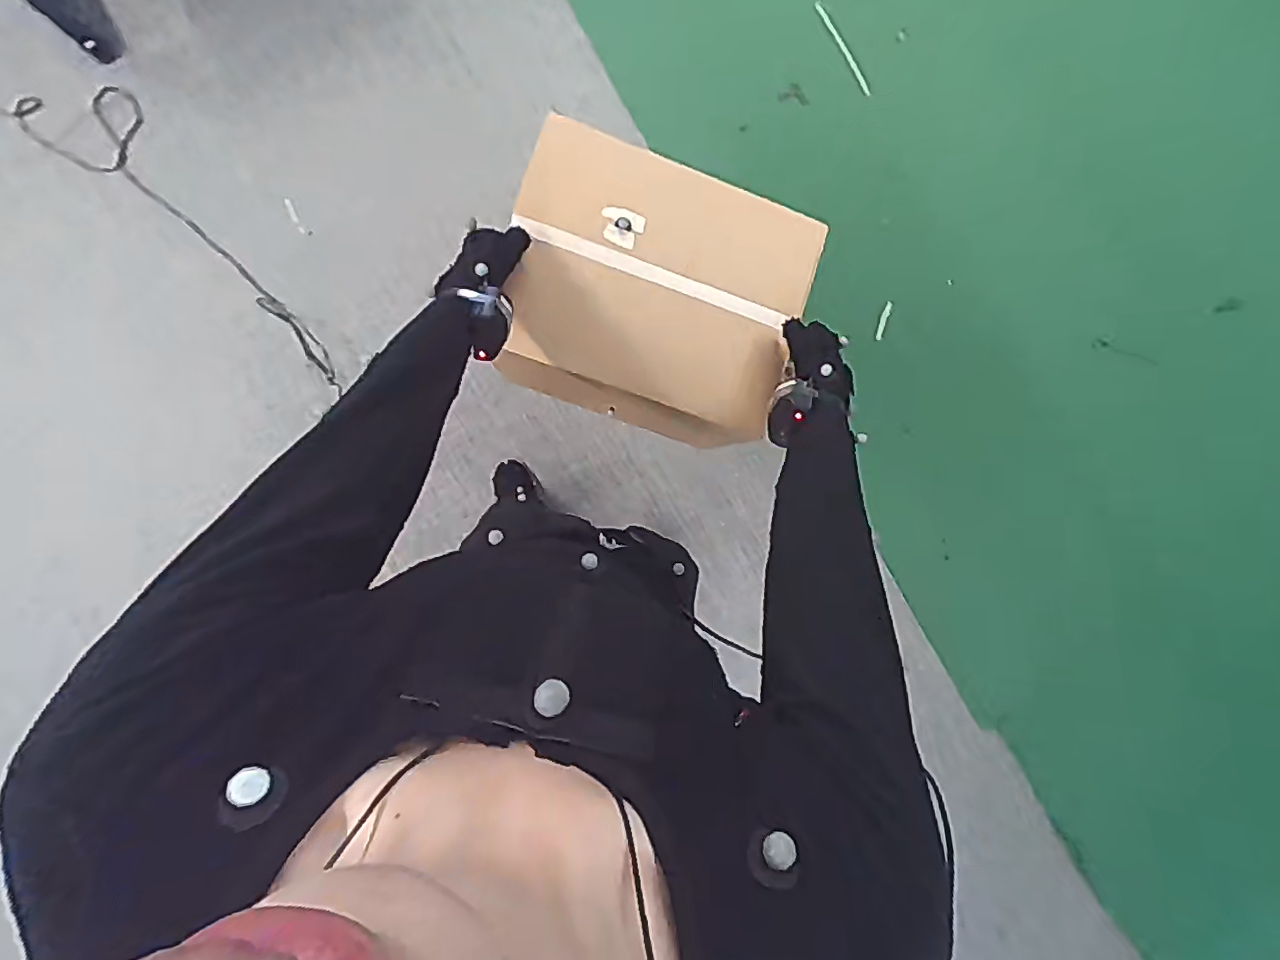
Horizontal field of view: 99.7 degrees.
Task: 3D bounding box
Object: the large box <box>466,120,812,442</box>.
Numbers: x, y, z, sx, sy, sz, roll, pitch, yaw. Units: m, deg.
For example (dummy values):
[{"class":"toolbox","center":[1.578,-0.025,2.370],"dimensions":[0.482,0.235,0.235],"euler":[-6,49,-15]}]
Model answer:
[{"class":"large box","center":[-0.007,-0.268,0.863],"dimensions":[0.408,0.320,0.320],"euler":[17,87,-6]}]
